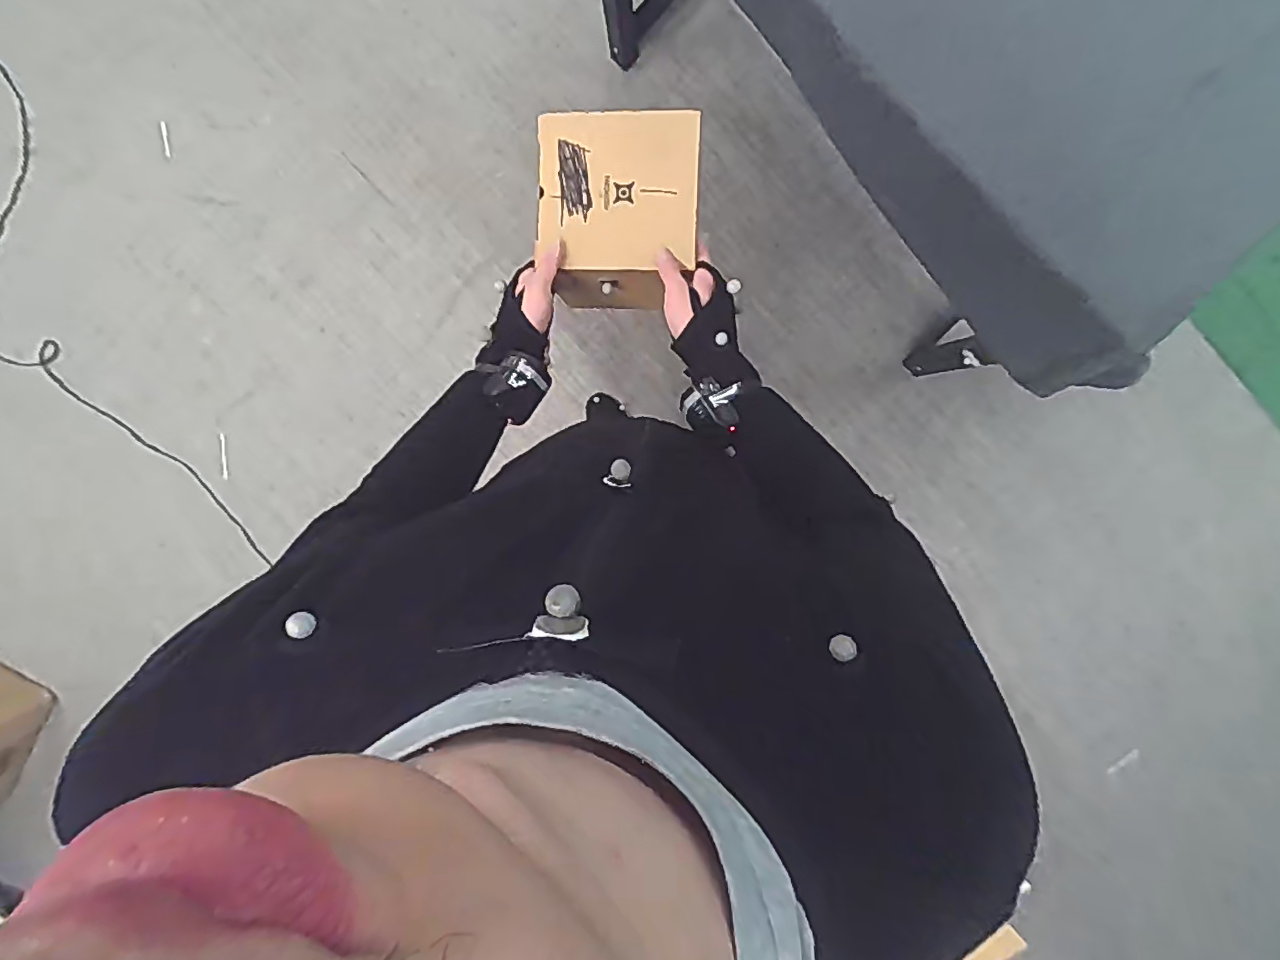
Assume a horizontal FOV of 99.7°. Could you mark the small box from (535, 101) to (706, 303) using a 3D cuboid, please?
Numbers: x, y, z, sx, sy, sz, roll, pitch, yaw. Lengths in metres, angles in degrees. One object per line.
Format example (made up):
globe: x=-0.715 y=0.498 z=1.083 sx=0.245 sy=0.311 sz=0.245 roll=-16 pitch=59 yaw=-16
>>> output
small box: x=-0.017 y=-0.315 z=0.644 sx=0.179 sy=0.176 sz=0.168 roll=2 pitch=95 yaw=3
